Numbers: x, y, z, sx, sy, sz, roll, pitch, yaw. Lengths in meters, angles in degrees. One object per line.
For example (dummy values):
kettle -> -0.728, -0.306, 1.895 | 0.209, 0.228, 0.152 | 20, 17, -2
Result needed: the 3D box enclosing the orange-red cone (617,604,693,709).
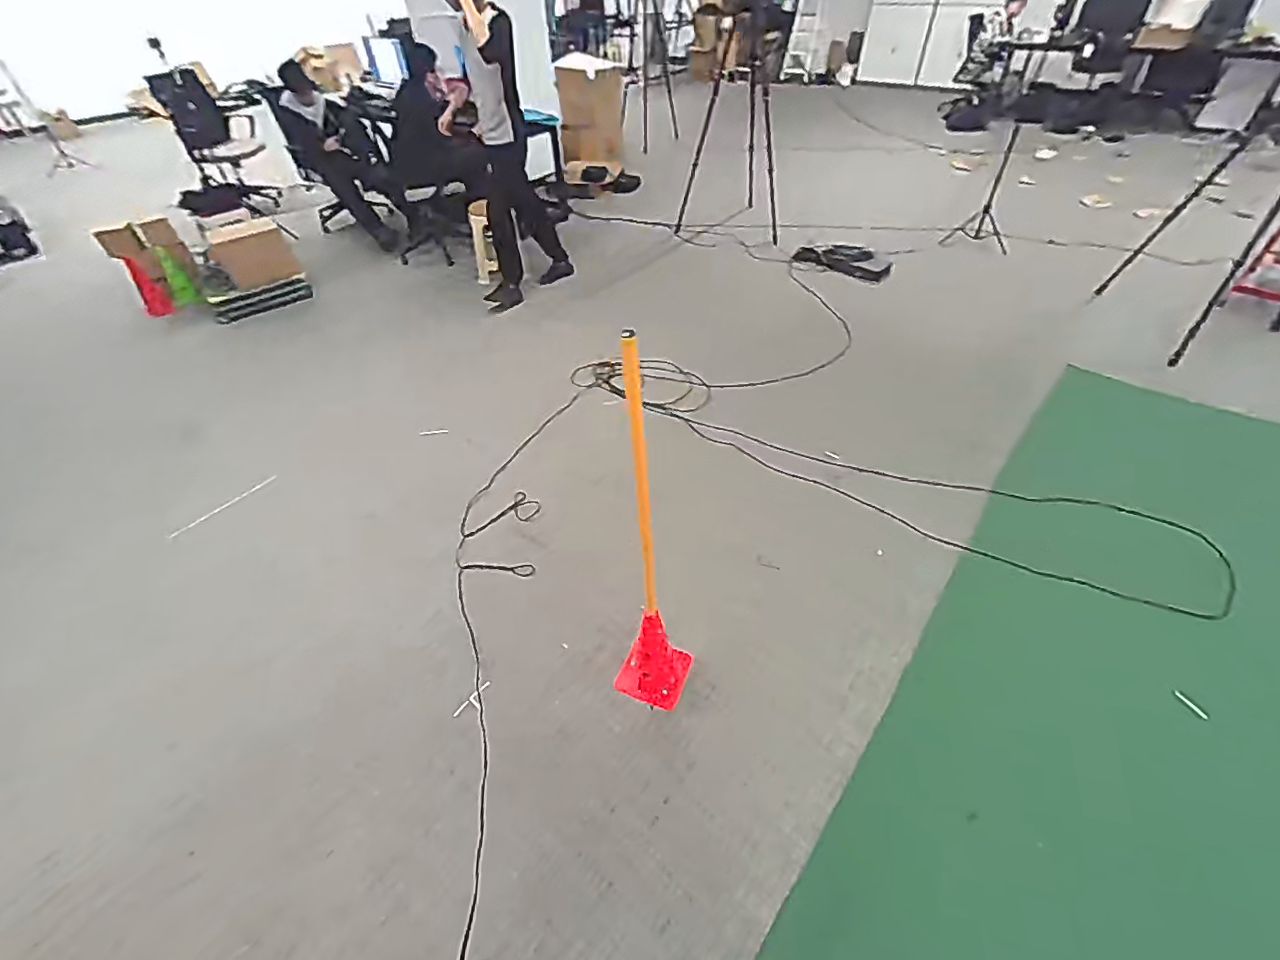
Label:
orange-red cone -> 0.045, 0.475, 1.582 | 0.198, 0.360, 0.199 | 17, 47, 19
